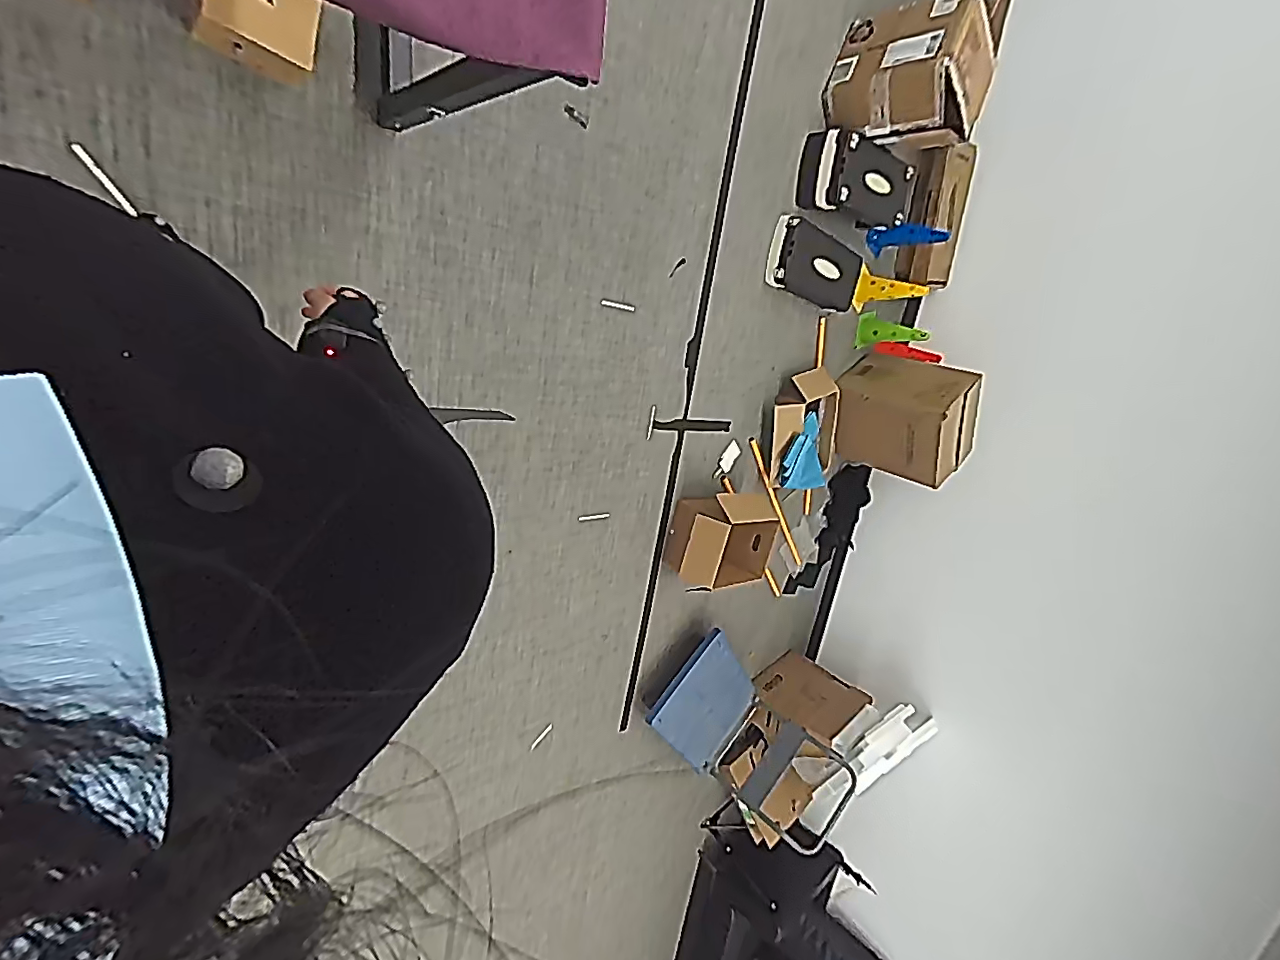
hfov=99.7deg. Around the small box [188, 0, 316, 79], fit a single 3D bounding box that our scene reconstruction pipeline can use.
[{"bbox_3d":[-0.717,-0.890,1.002,0.168,0.176,0.179,6,103,-46],"label":"small box"}]
